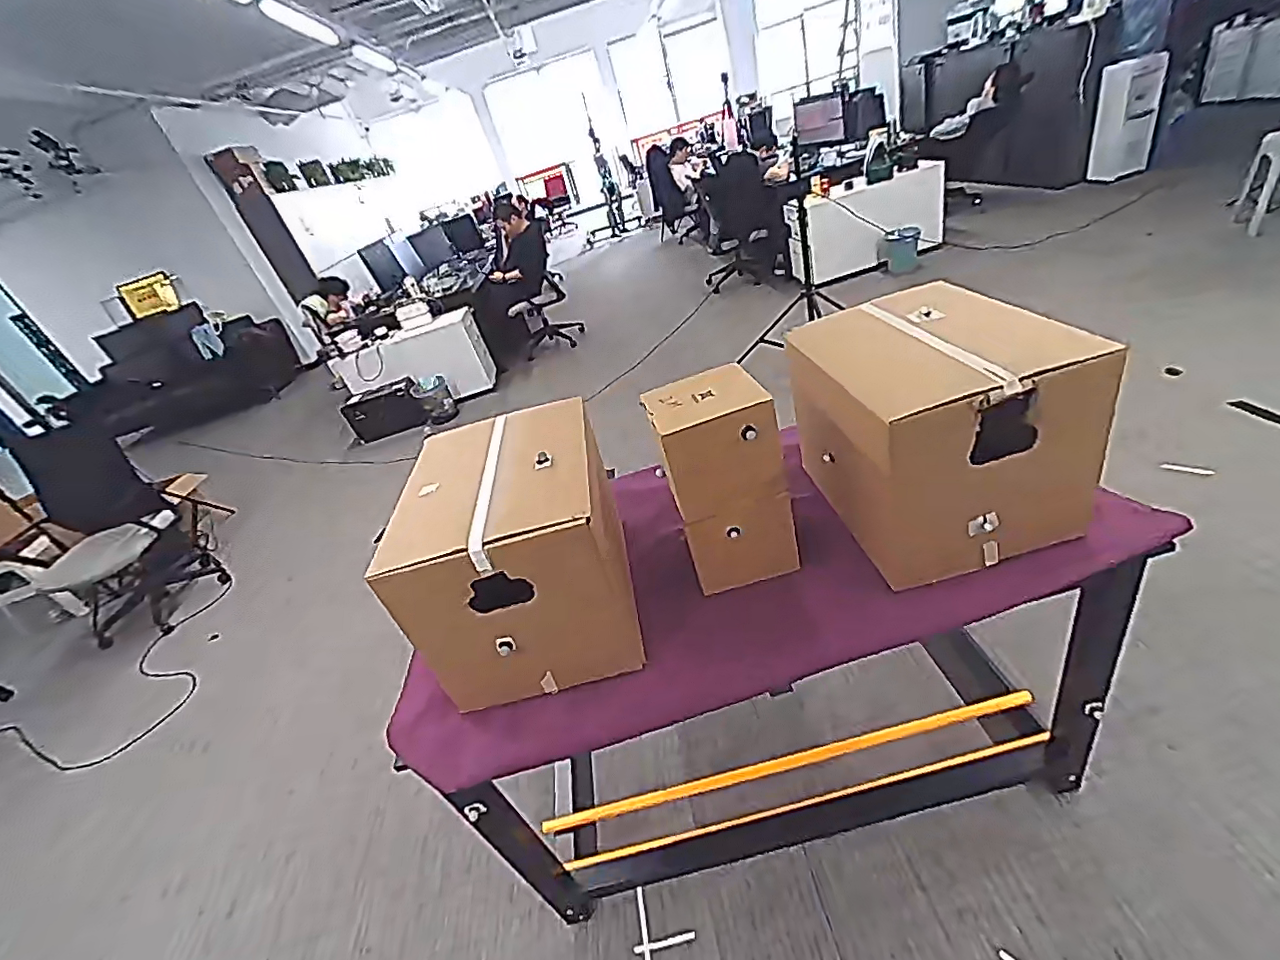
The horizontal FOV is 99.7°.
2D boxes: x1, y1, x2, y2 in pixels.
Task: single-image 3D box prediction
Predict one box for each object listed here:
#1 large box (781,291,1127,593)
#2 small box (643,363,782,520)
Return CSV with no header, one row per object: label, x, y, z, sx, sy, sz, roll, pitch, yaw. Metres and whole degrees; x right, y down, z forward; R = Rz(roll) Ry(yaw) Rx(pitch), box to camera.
large box,0.475,-0.085,0.911,0.320,0.320,0.408,-17,31,2
small box,0.119,-0.063,0.873,0.179,0.176,0.168,-18,31,0
